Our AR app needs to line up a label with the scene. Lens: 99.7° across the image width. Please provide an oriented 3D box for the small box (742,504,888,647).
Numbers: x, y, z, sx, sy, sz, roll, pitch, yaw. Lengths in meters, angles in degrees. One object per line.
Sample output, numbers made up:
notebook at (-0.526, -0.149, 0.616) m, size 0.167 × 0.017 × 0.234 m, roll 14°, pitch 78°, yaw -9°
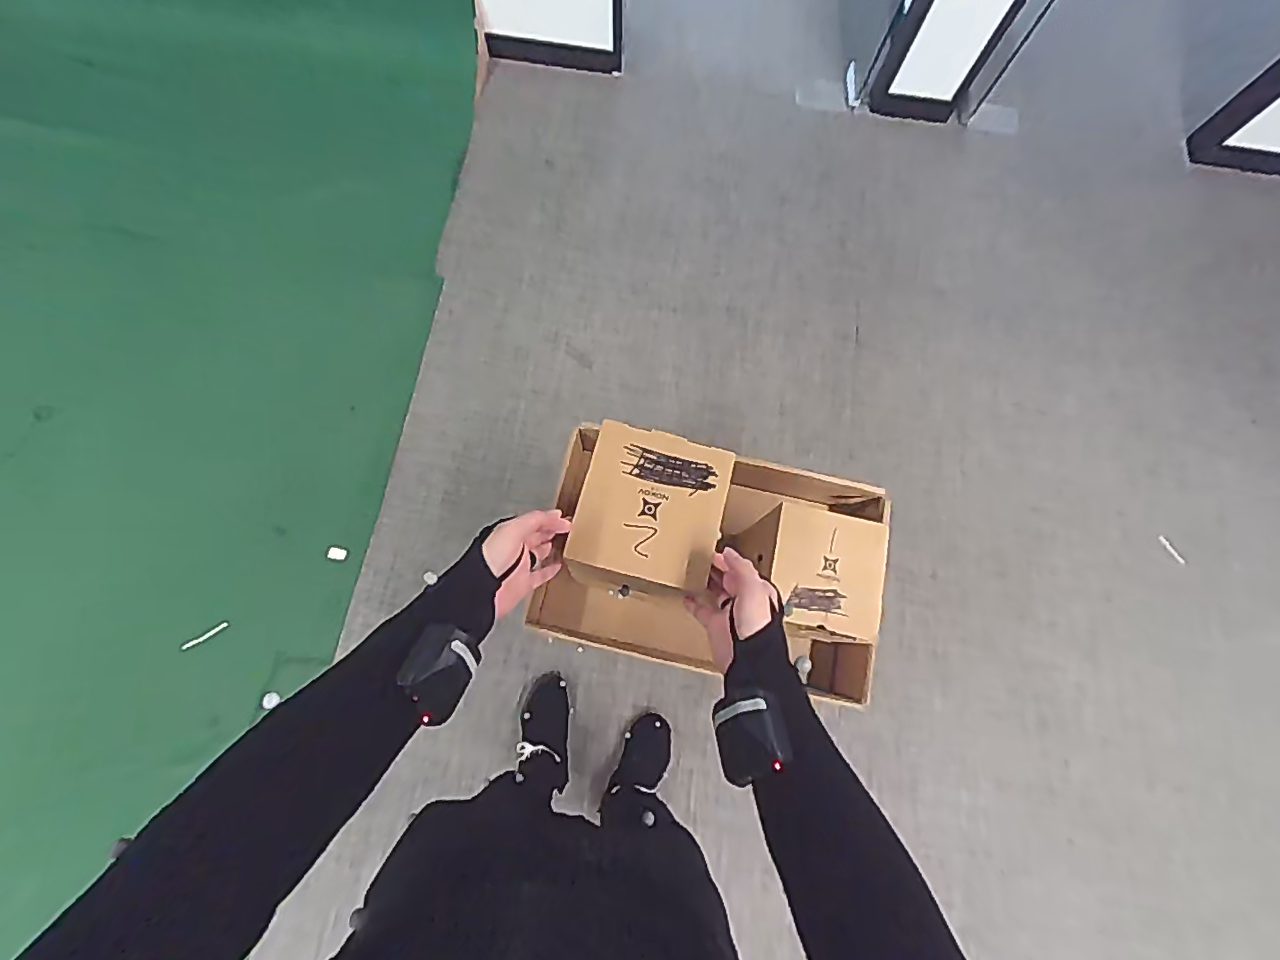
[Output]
small box at (0.267, 0.156, 0.856) m, size 0.168 × 0.176 × 0.179 m, roll 13°, pitch 74°, yaw 1°

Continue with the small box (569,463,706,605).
small box at (-0.004, 0.095, 0.860) m, size 0.168 × 0.176 × 0.179 m, roll 15°, pitch 75°, yaw 1°

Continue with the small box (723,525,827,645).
small box at (0.259, 0.200, 1.014) m, size 0.168 × 0.176 × 0.179 m, roll 13°, pitch 74°, yaw 2°
